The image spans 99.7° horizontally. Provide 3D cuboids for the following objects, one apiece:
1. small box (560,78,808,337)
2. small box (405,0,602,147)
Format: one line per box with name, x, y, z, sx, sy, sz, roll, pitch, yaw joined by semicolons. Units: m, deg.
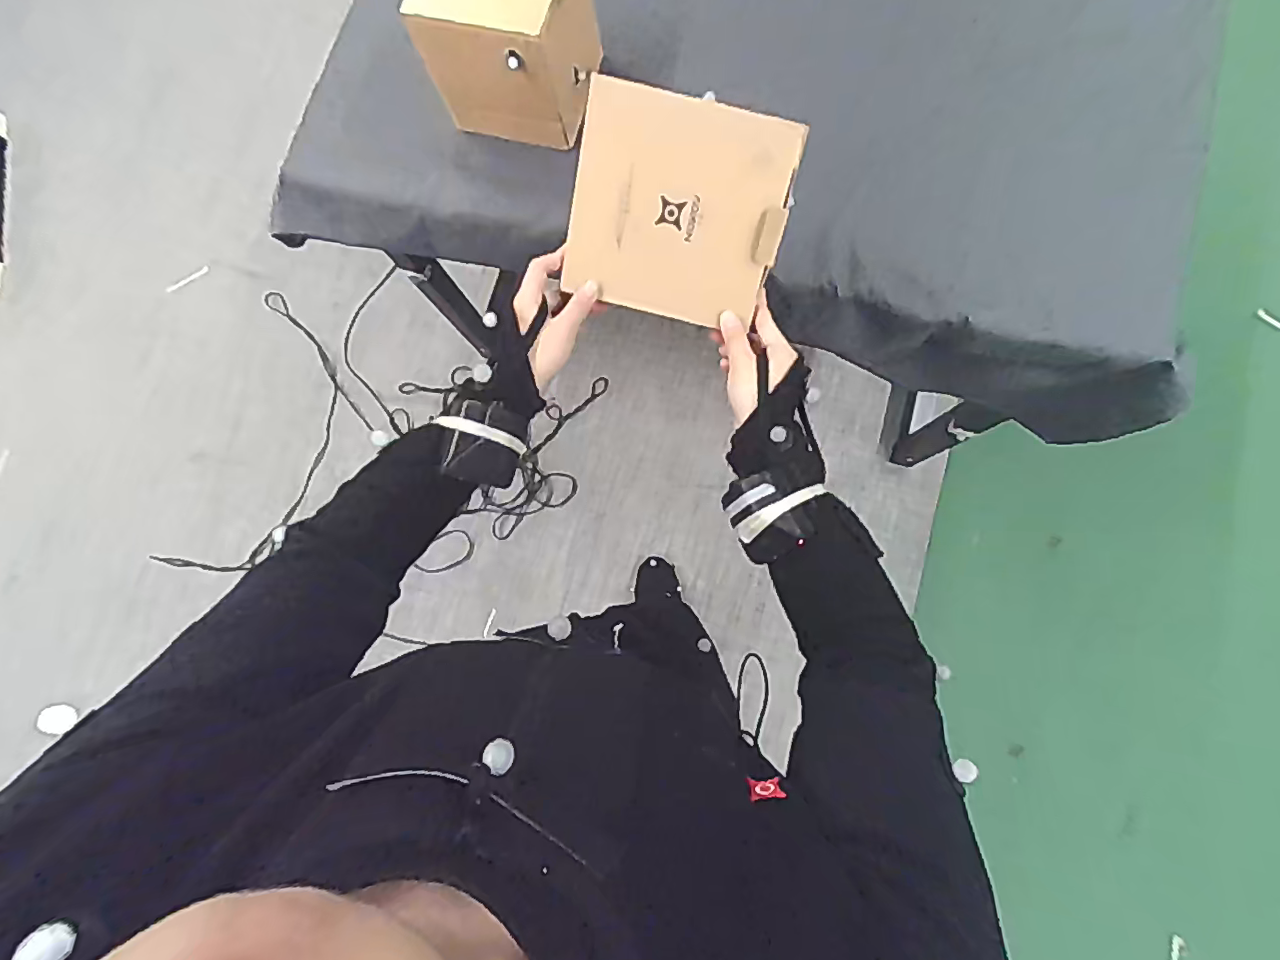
small box;0.038;-0.247;0.520;0.179;0.176;0.168;14;111;2
small box;-0.161;-0.574;0.703;0.179;0.176;0.168;15;81;7
